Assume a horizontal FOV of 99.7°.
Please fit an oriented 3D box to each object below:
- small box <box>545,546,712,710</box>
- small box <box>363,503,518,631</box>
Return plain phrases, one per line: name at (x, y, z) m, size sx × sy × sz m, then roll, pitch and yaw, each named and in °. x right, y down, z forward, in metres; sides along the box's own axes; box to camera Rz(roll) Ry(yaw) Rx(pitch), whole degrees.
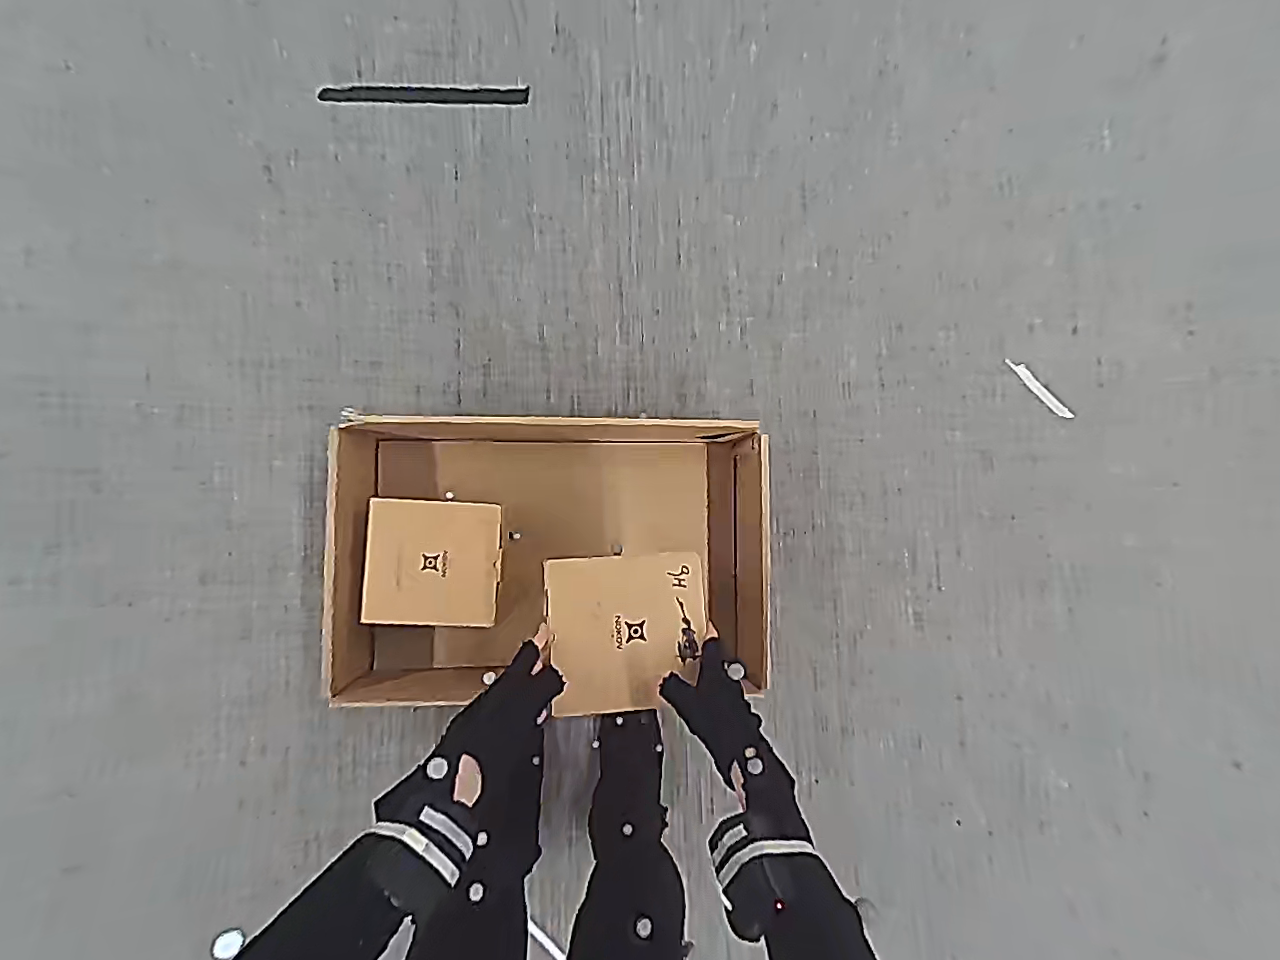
small box at (-0.017, 0.173, 0.674) m, size 0.179 × 0.176 × 0.168 m, roll -4°, pitch 83°, yaw -4°
small box at (-0.279, 0.120, 0.796) m, size 0.179 × 0.176 × 0.168 m, roll 3°, pitch 86°, yaw -5°
